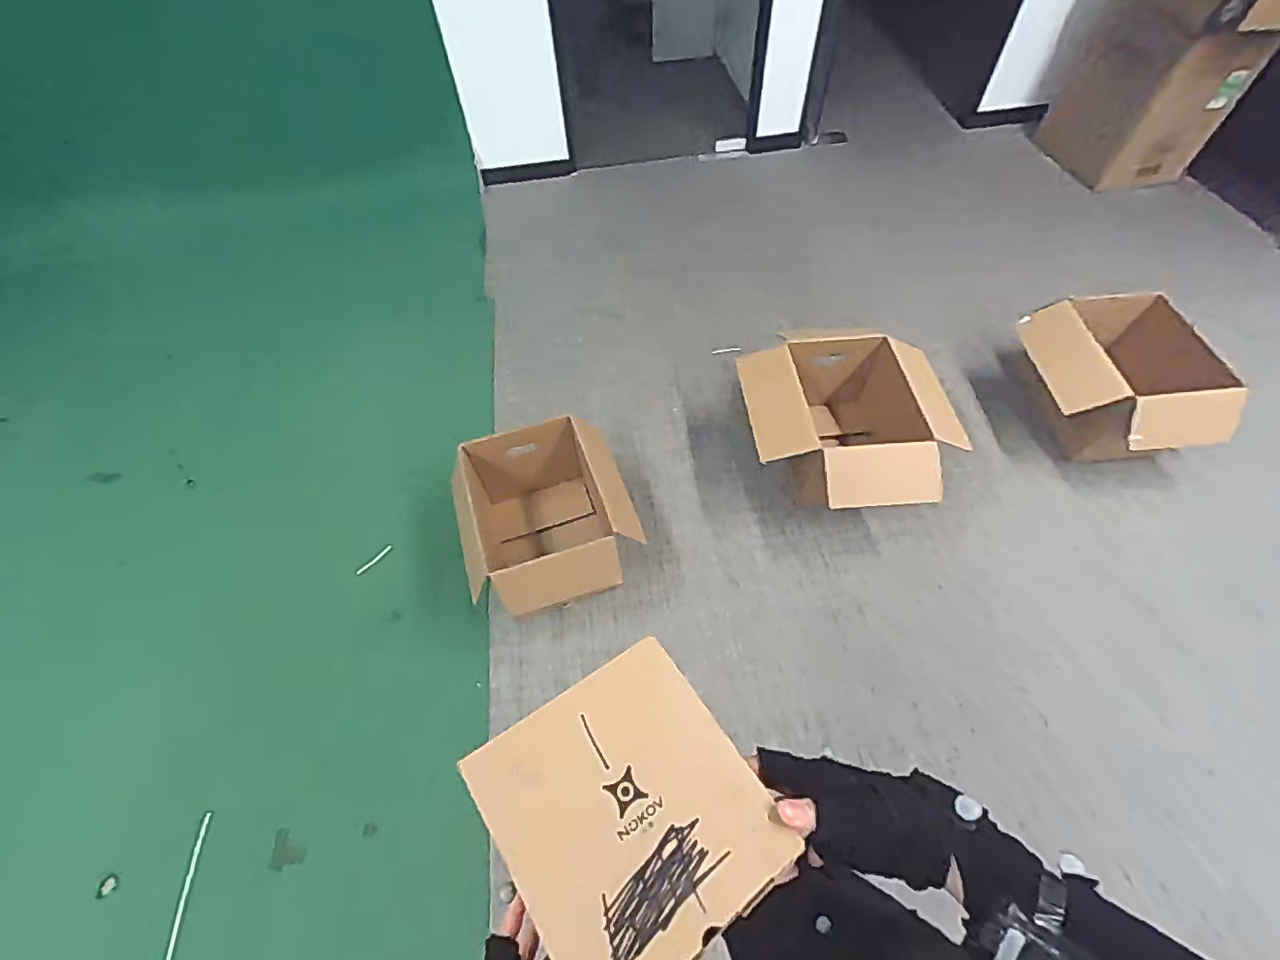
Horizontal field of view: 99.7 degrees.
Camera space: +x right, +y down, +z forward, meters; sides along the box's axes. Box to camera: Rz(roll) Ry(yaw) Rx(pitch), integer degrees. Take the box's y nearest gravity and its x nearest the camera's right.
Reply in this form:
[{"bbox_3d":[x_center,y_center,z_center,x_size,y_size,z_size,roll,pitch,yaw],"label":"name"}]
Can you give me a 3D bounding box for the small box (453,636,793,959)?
[{"bbox_3d":[-0.021,0.261,0.421,0.168,0.176,0.179,-27,61,-27],"label":"small box"}]
